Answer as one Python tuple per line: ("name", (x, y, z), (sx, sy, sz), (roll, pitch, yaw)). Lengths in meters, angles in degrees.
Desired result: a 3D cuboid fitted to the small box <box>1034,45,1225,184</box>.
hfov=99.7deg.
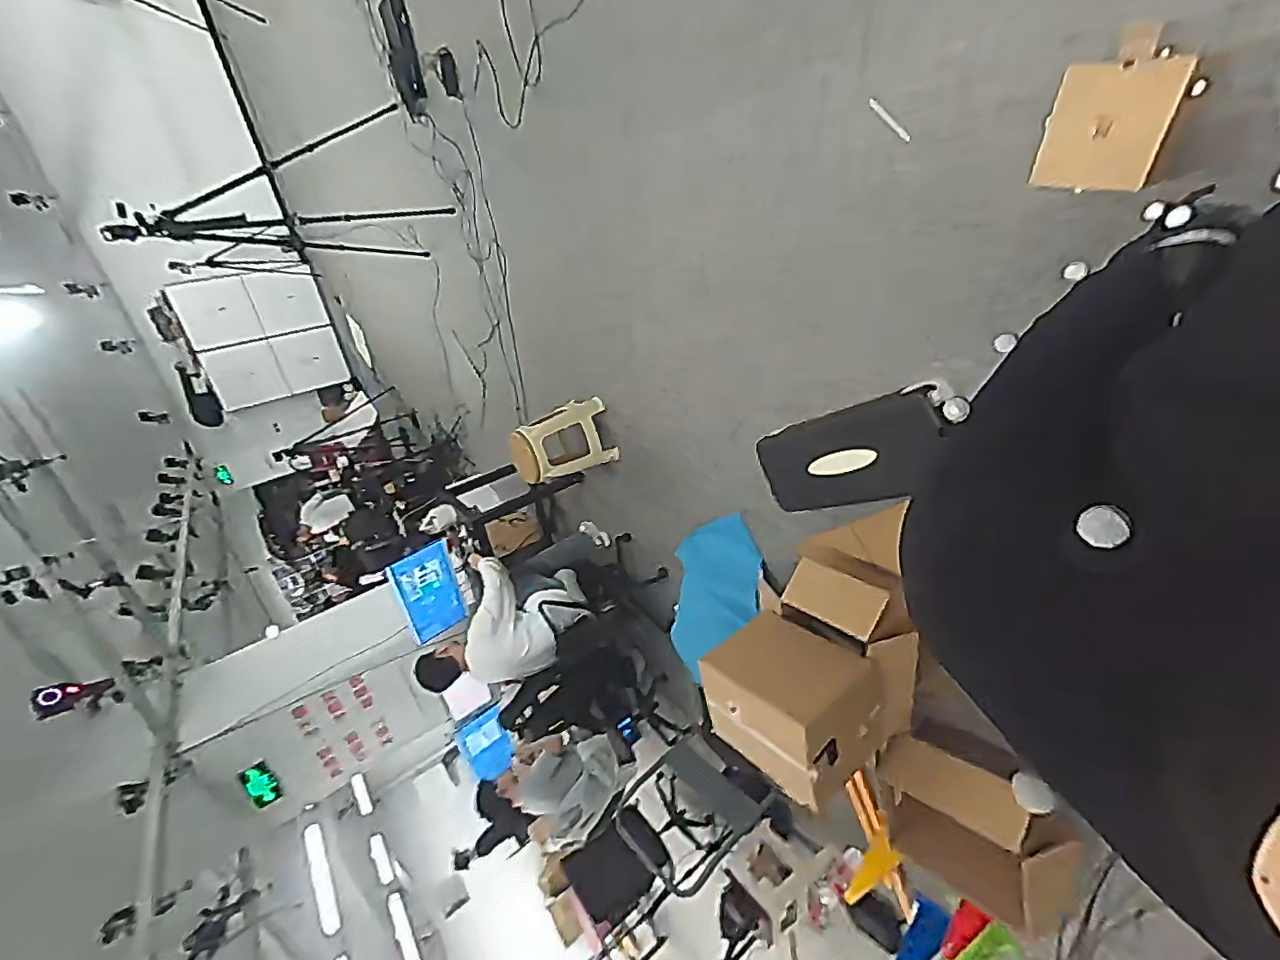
("small box", (0.807, -0.604, 0.897), (0.168, 0.176, 0.179), (34, 138, 41))
